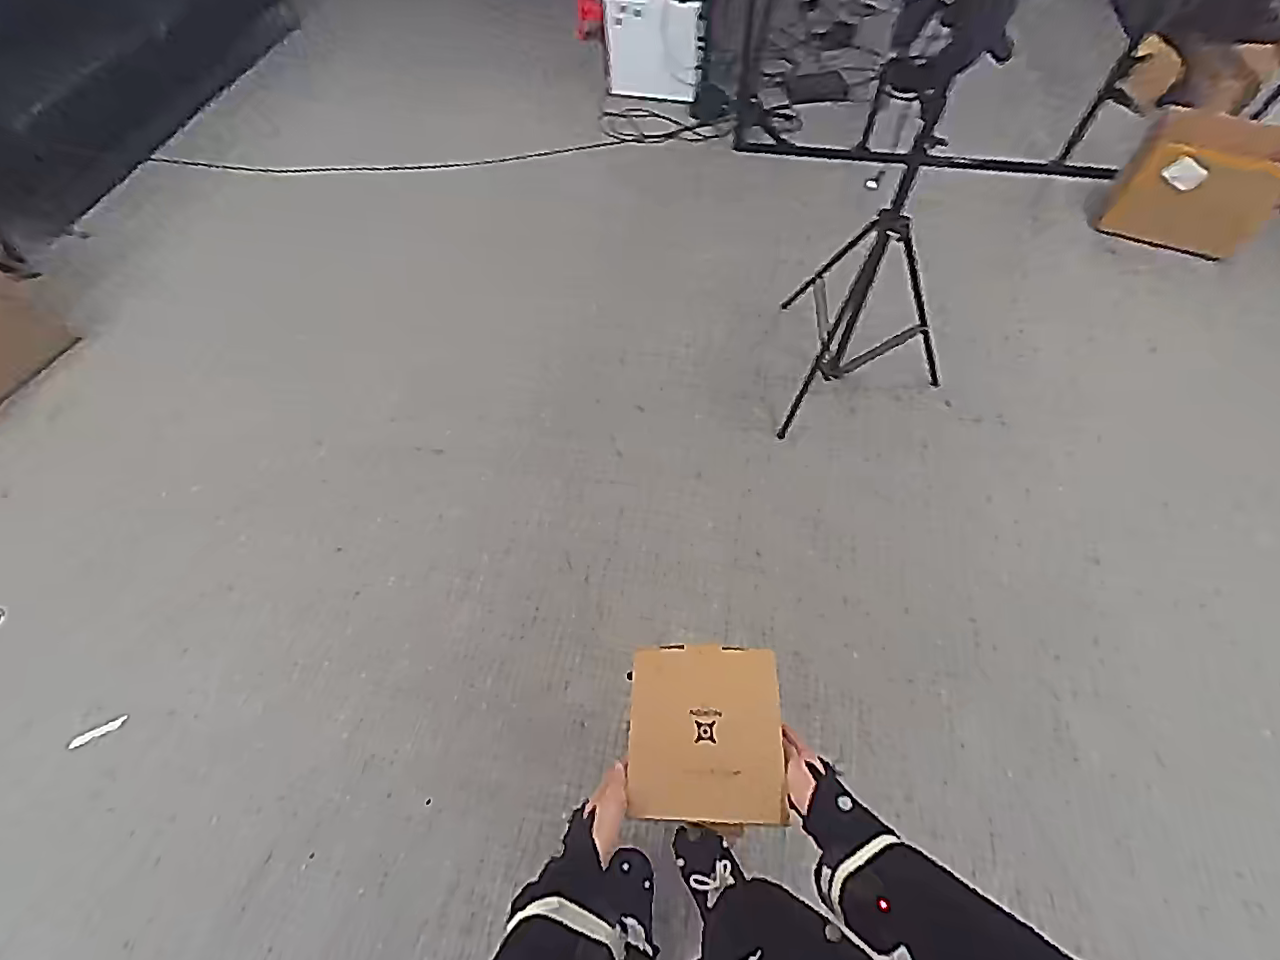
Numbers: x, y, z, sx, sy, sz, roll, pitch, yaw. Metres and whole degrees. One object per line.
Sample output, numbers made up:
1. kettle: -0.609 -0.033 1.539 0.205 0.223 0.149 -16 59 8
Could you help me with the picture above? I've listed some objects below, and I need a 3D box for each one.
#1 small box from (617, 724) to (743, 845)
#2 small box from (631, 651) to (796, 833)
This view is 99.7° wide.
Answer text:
1. small box: 0.073 0.404 0.788 0.168 0.176 0.179 10 60 9
2. small box: 0.081 0.315 0.646 0.168 0.176 0.179 -2 59 5
